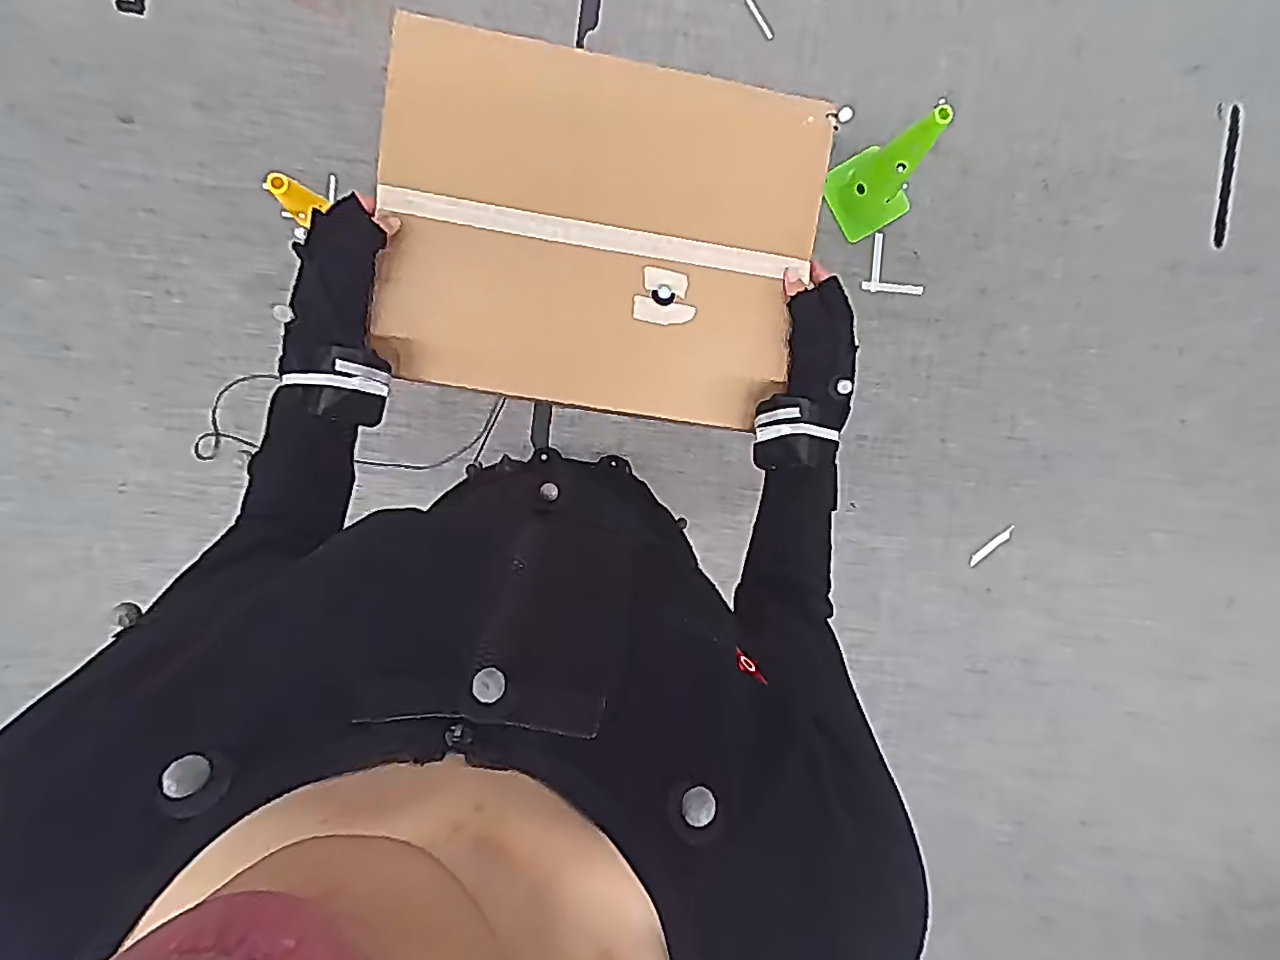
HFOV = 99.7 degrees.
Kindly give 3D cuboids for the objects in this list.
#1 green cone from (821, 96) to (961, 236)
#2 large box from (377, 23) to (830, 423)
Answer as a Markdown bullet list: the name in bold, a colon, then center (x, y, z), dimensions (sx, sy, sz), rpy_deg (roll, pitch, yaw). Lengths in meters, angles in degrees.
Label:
- **green cone**: center (0.627, -0.779, 1.295), dimensions (0.202, 0.368, 0.200), rpy_deg (-31, 95, -2)
- **large box**: center (-0.047, -0.249, 0.659), dimensions (0.408, 0.320, 0.320), rpy_deg (8, 97, -6)
